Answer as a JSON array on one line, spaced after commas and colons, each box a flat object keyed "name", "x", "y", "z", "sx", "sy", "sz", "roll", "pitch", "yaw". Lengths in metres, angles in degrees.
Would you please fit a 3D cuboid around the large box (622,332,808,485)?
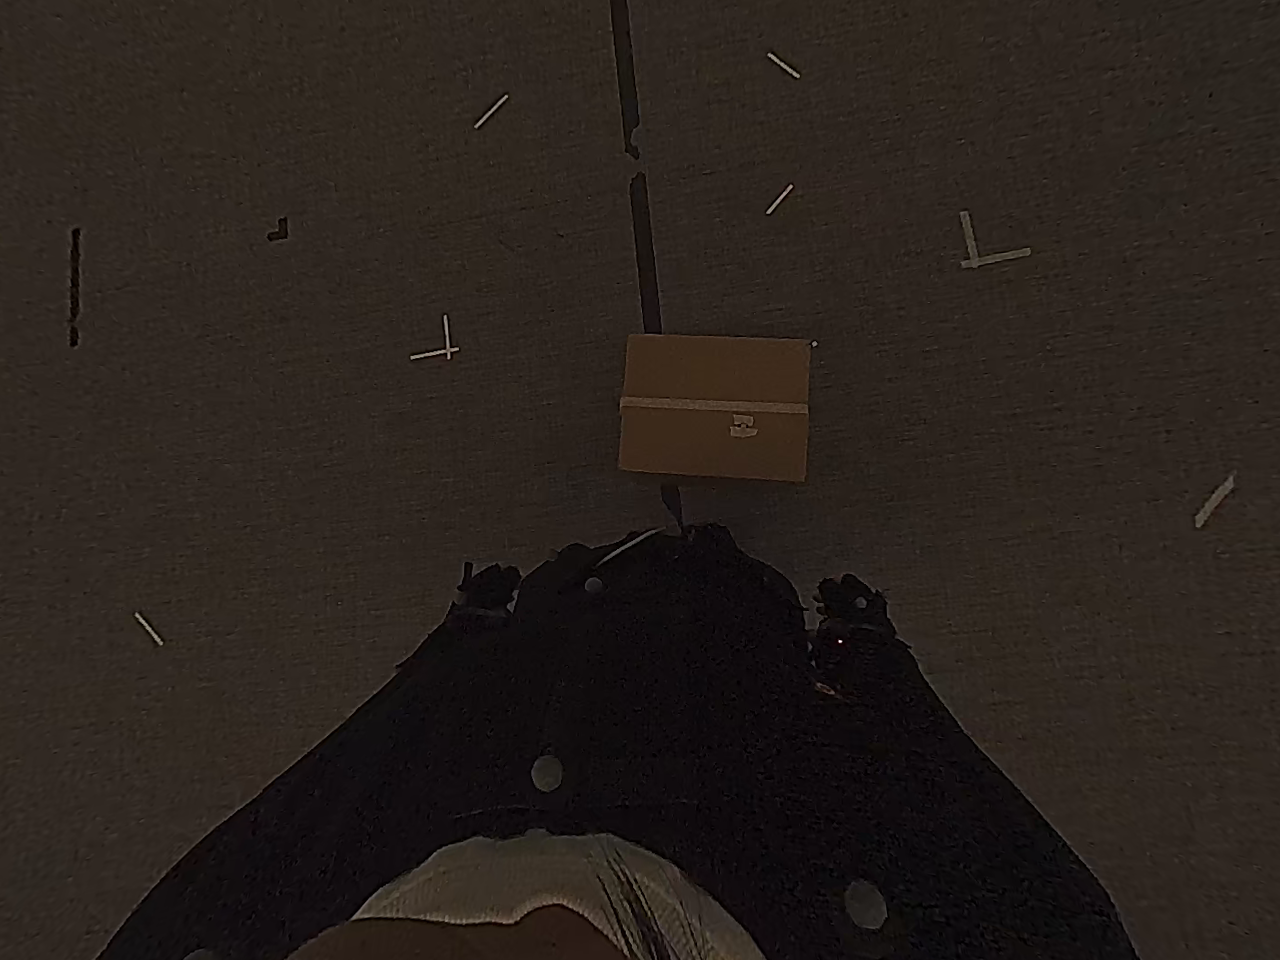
[{"name": "large box", "x": 0.178, "y": -0.160, "z": 1.342, "sx": 0.408, "sy": 0.320, "sz": 0.320, "roll": 4, "pitch": 86, "yaw": 7}]
